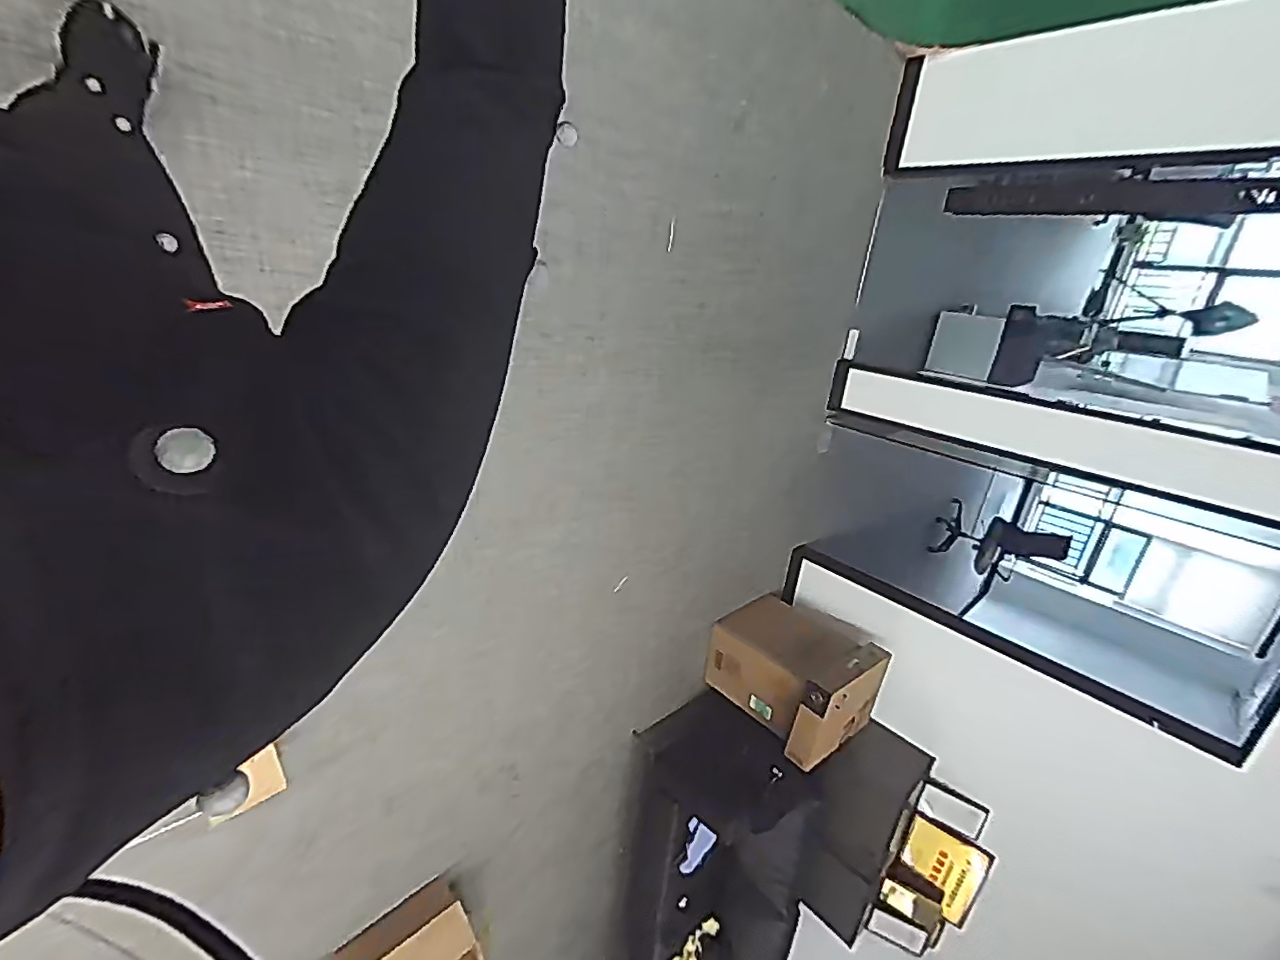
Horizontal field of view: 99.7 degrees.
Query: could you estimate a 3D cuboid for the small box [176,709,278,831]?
[{"bbox_3d":[-1.058,0.733,1.385,0.168,0.176,0.179,-19,121,-40],"label":"small box"}]
